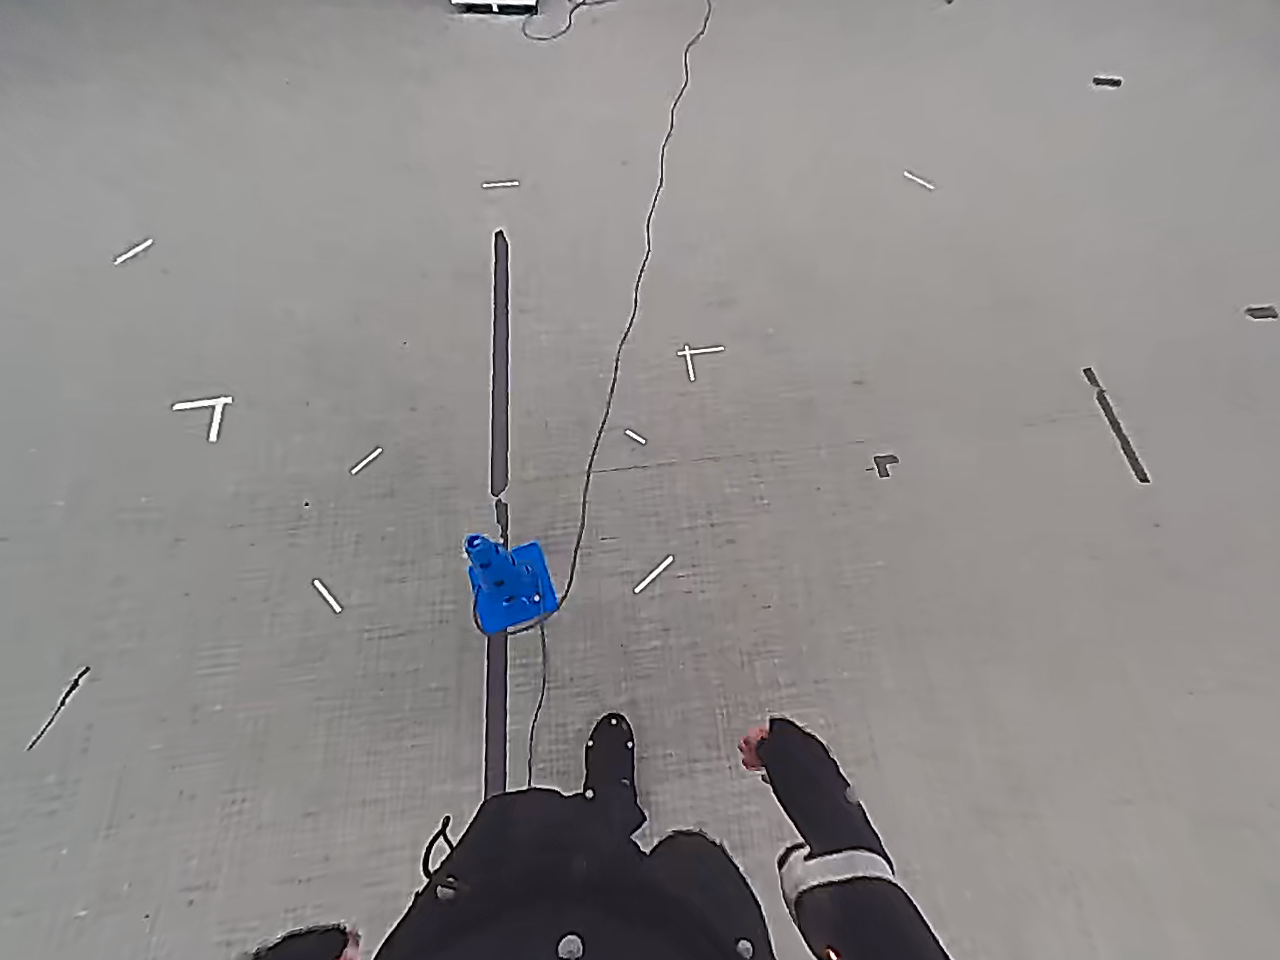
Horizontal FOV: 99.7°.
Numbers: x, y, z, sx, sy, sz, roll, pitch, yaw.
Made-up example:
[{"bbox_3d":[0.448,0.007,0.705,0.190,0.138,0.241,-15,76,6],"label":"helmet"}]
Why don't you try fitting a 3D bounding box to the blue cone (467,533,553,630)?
[{"bbox_3d":[-0.336,0.196,1.250,0.193,0.380,0.192,-20,66,-10],"label":"blue cone"}]
